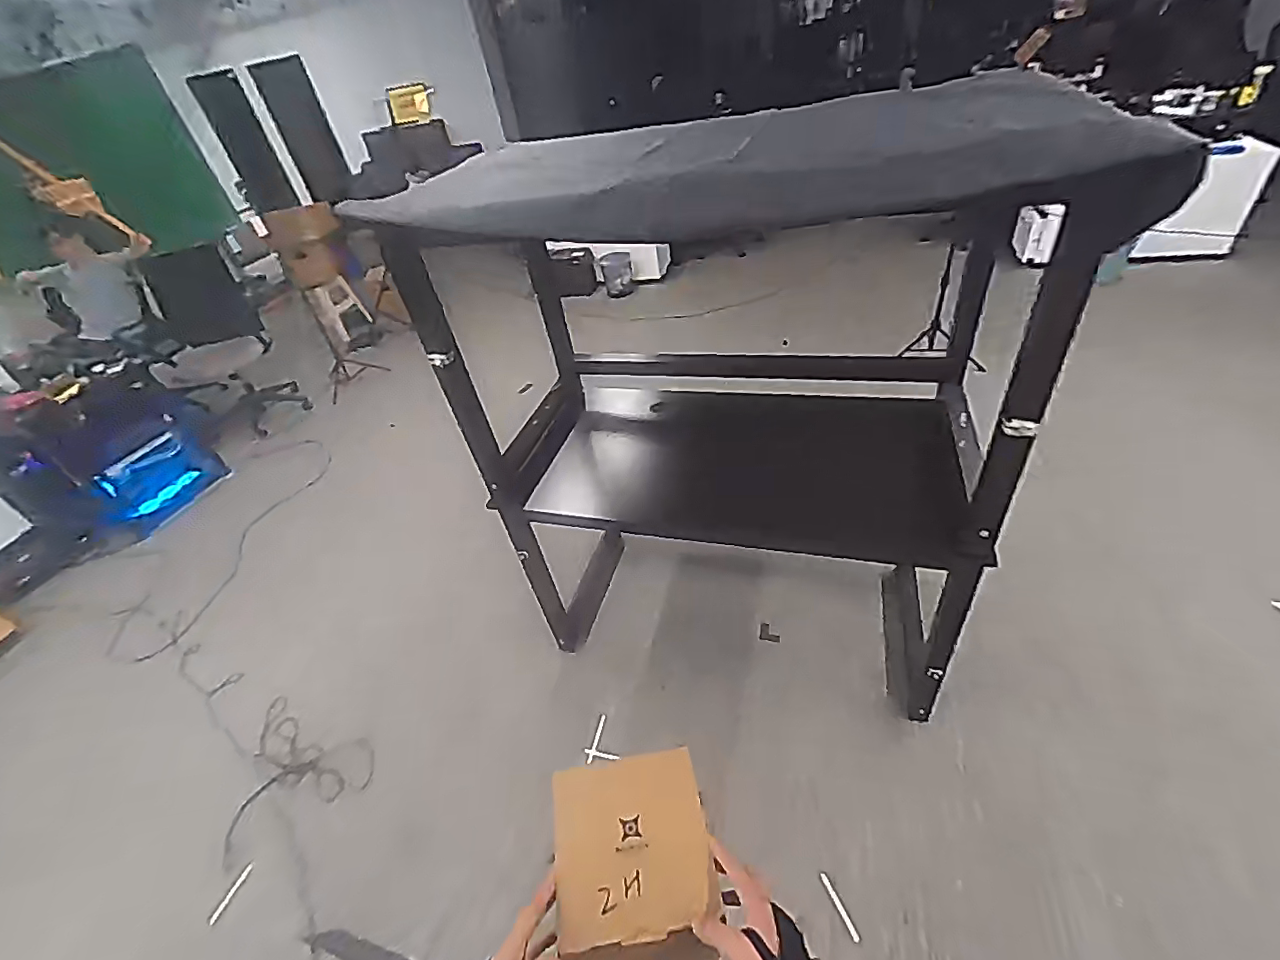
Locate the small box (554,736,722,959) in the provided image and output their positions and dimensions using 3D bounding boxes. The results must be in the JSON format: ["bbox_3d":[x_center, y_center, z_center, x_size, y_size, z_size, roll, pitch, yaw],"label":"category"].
[{"bbox_3d":[-0.010,0.435,0.631,0.168,0.176,0.179,-7,37,-5],"label":"small box"}]
